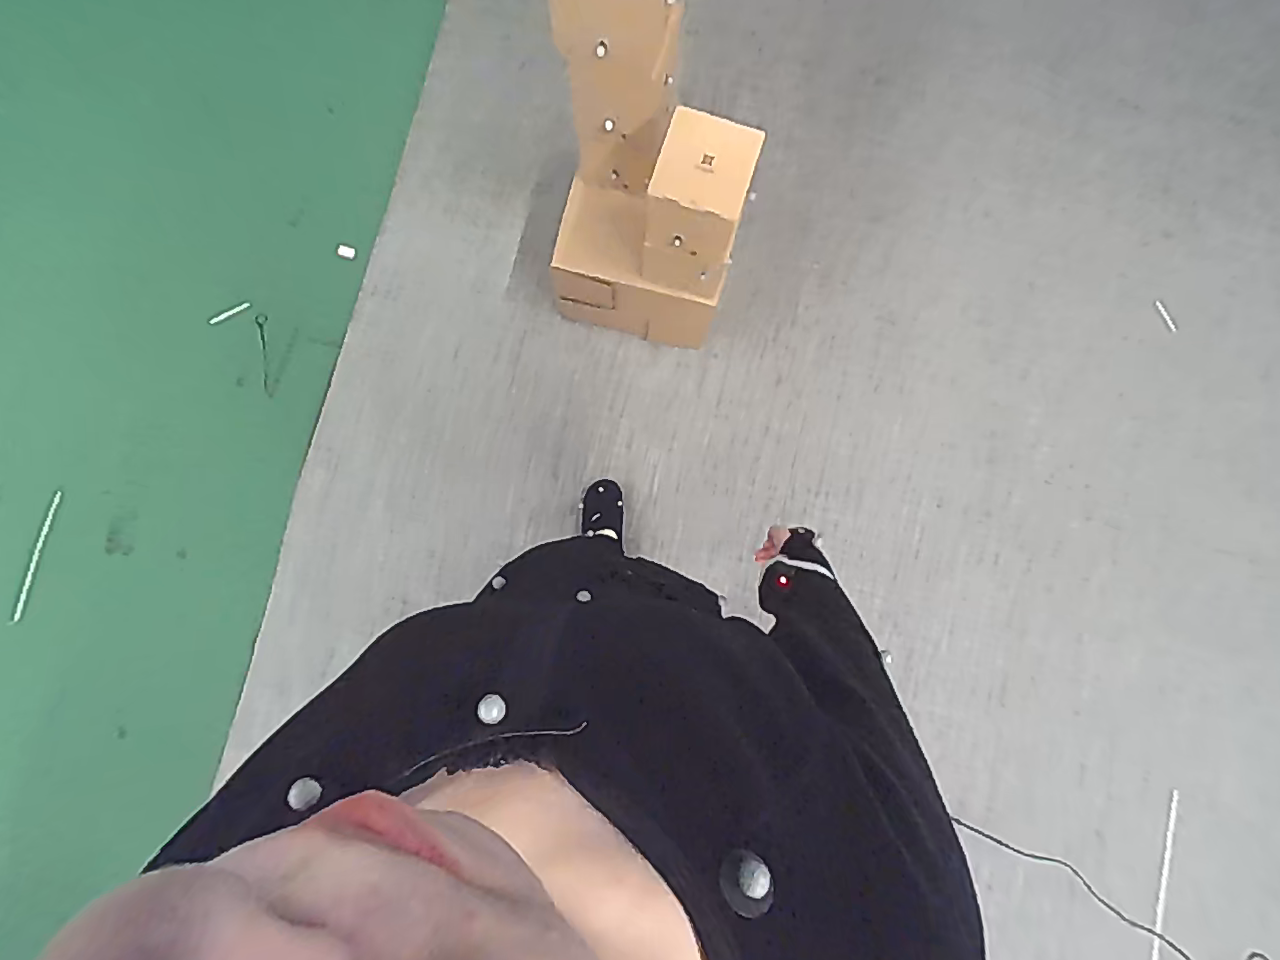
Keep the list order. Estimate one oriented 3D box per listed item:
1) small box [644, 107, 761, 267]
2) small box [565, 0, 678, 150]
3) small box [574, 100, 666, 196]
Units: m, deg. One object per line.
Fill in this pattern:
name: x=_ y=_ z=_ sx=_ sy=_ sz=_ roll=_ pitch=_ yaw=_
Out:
small box: x=0.108 y=-0.541 z=1.019 sx=0.168 sy=0.176 sz=0.179 roll=17 pitch=83 yaw=0
small box: x=-0.035 y=-0.791 z=1.047 sx=0.168 sy=0.176 sz=0.179 roll=16 pitch=82 yaw=2
small box: x=-0.041 y=-0.782 z=1.212 sx=0.168 sy=0.176 sz=0.179 roll=14 pitch=81 yaw=2
